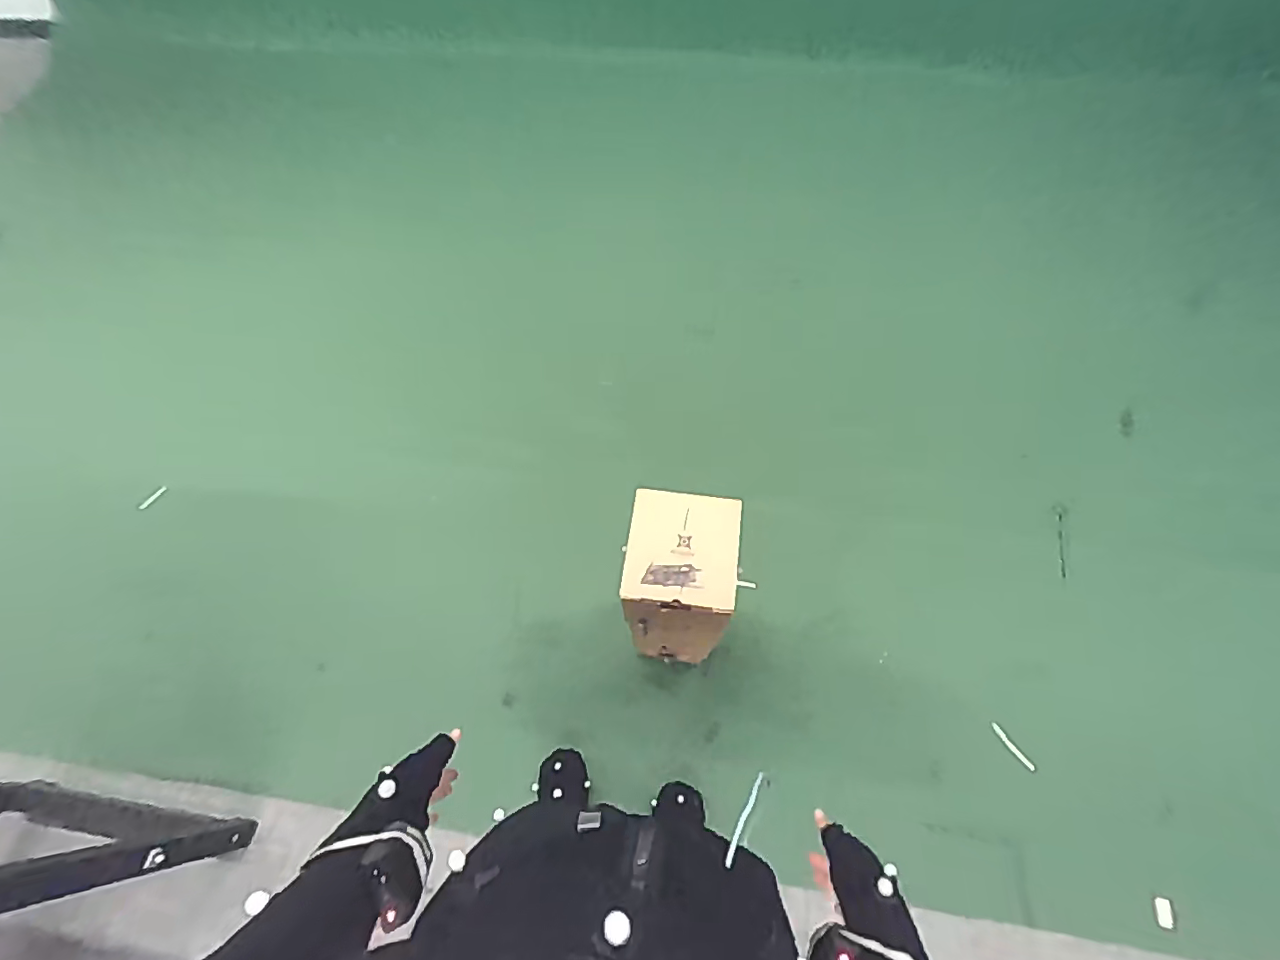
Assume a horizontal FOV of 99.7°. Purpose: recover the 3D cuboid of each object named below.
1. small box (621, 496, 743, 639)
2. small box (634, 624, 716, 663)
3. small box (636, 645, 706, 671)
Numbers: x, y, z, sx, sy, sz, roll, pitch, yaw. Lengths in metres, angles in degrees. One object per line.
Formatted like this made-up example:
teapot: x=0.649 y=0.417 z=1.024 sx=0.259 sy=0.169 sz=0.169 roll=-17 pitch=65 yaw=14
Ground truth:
small box: x=0.068 y=0.147 z=0.871 sx=0.168 sy=0.176 sz=0.179 roll=7 pitch=63 yaw=5
small box: x=0.080 y=0.286 z=1.170 sx=0.168 sy=0.176 sz=0.179 roll=6 pitch=64 yaw=5
small box: x=0.086 y=0.353 z=1.318 sx=0.168 sy=0.176 sz=0.179 roll=8 pitch=64 yaw=7
